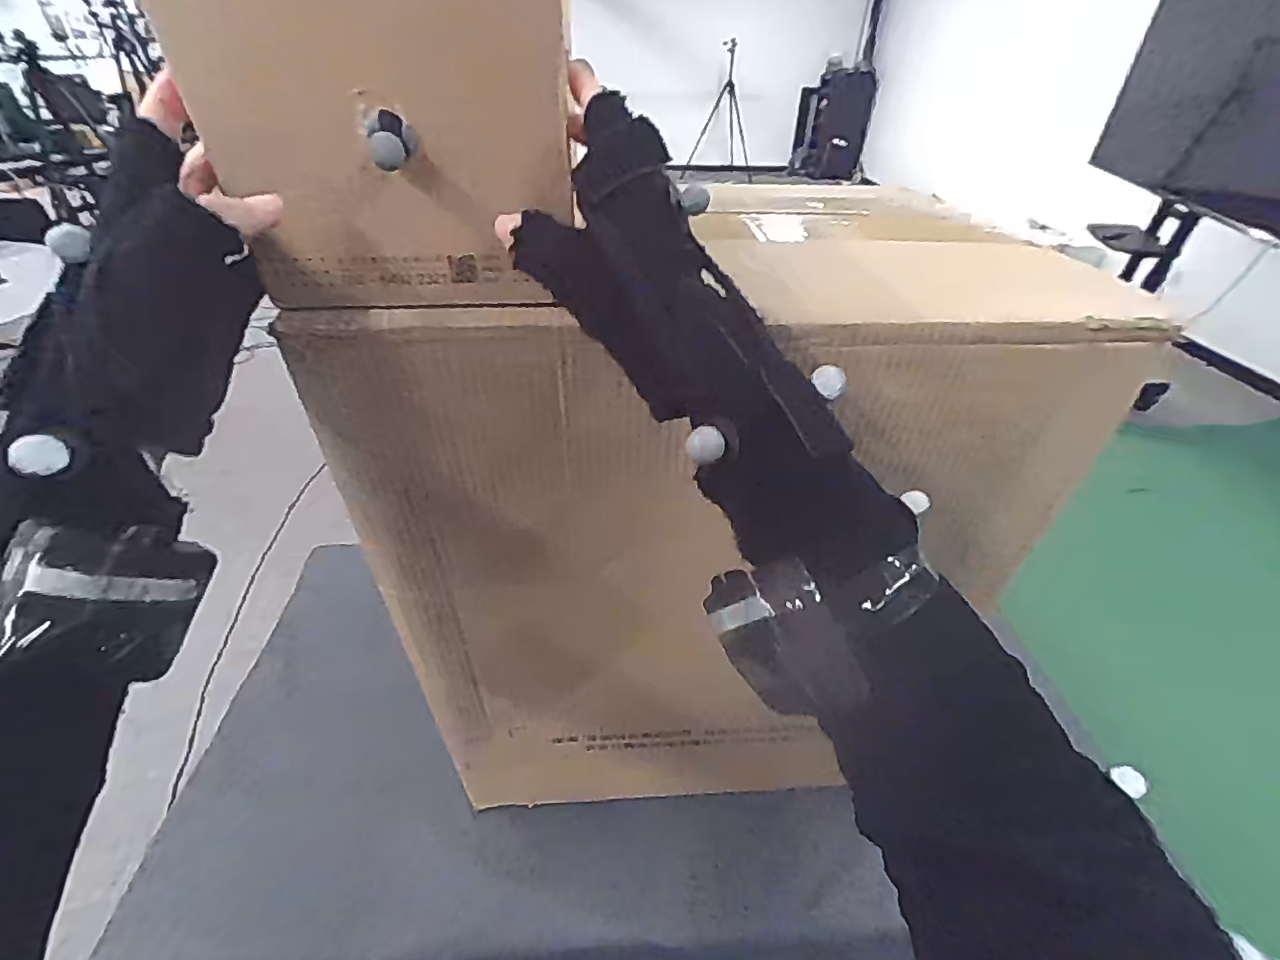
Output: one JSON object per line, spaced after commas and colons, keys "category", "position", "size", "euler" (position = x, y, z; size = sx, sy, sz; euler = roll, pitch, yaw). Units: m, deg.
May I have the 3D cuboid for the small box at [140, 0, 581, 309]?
{"category": "small box", "position": [-0.121, -0.209, 0.312], "size": [0.168, 0.176, 0.179], "euler": [-2, 41, -4]}
